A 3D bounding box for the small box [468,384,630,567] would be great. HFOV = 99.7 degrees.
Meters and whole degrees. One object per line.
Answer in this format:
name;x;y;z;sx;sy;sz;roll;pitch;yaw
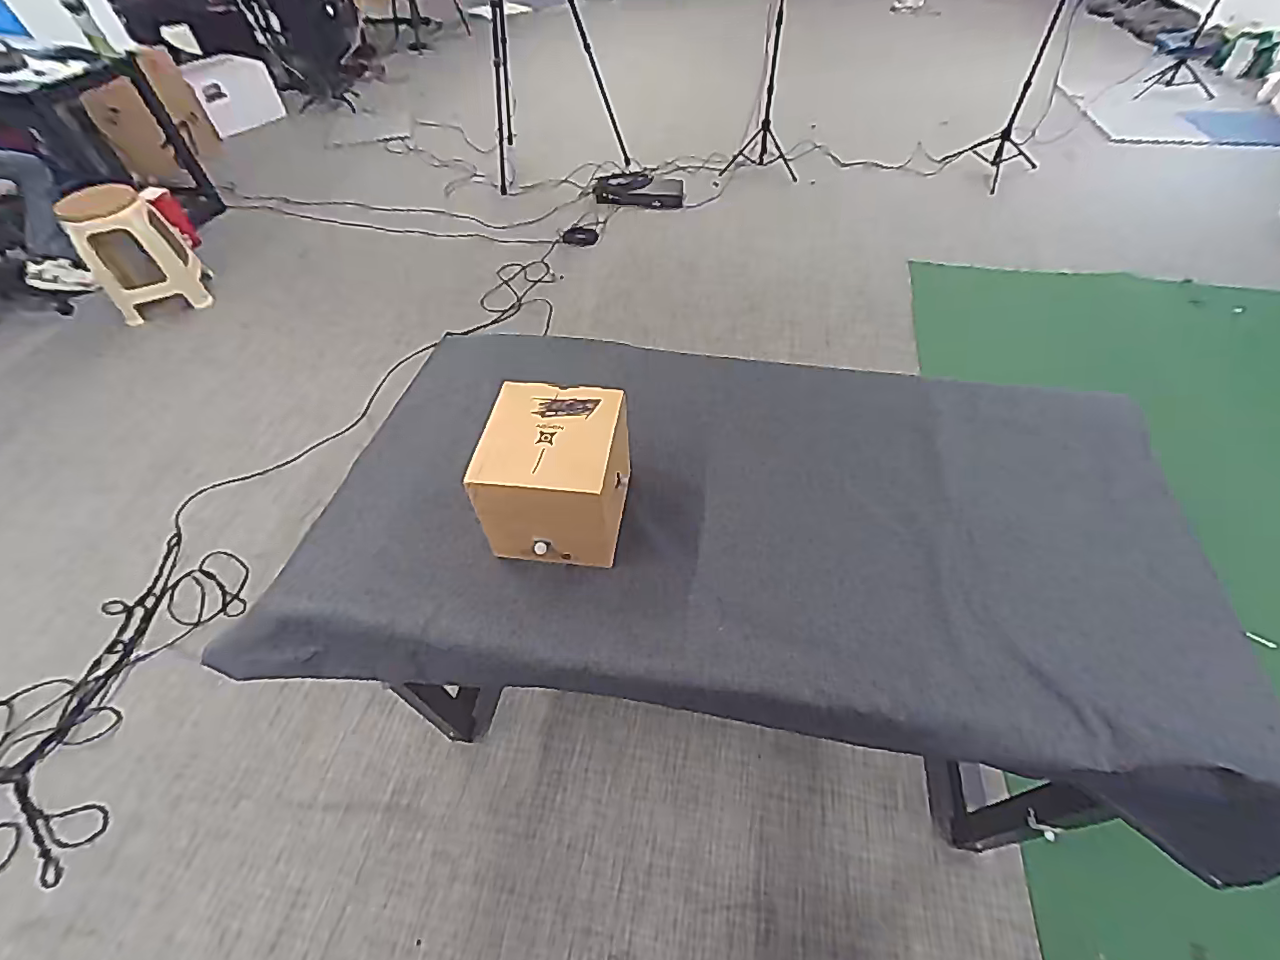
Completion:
small box;-0.107;-0.006;0.730;0.168;0.176;0.179;5;51;6
